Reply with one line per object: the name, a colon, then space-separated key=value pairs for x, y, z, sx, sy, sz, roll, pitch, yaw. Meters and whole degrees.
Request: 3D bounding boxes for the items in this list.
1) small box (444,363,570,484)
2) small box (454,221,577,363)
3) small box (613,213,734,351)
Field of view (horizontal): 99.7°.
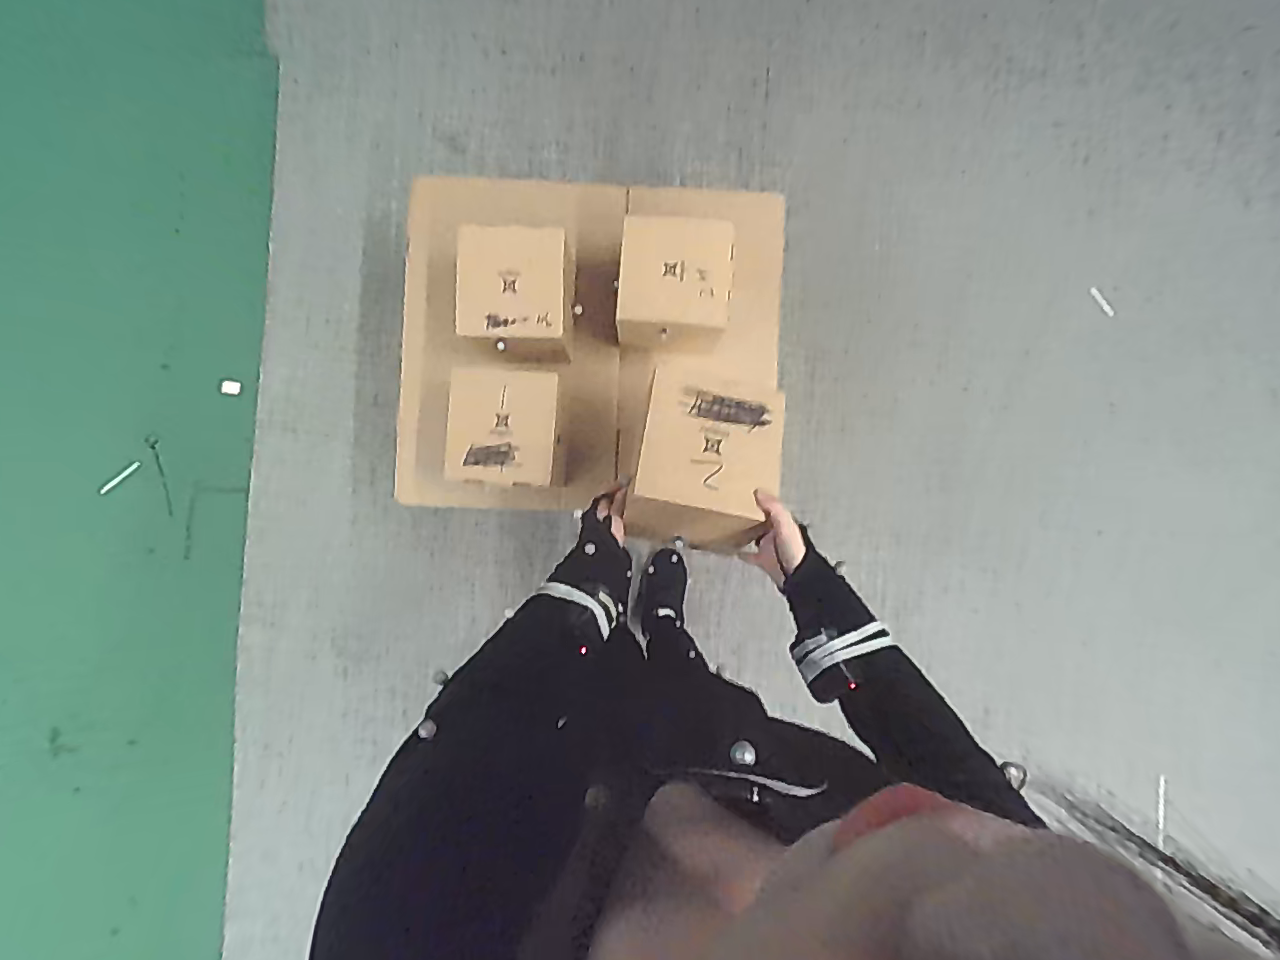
small box: x=-0.212 y=-0.085 z=0.902 sx=0.168 sy=0.176 sz=0.179 roll=4 pitch=88 yaw=0
small box: x=-0.199 y=-0.306 z=0.906 sx=0.168 sy=0.176 sz=0.179 roll=1 pitch=87 yaw=1
small box: x=0.053 y=-0.324 z=0.912 sx=0.179 sy=0.176 sz=0.168 roll=5 pitch=89 yaw=1
